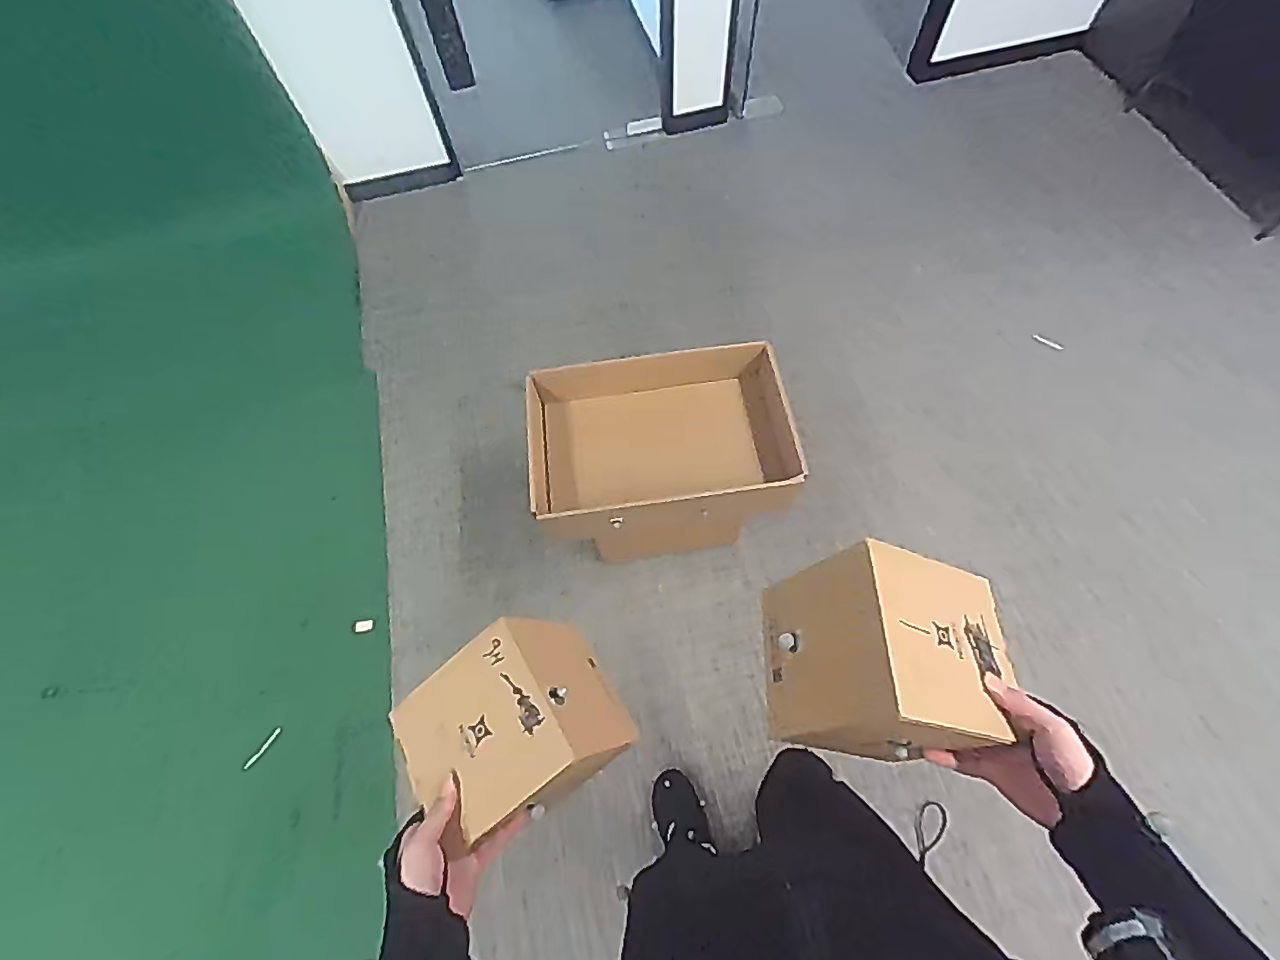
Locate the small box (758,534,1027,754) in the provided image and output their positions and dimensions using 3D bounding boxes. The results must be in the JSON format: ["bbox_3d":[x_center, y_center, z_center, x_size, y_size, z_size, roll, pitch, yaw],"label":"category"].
[{"bbox_3d":[0.244,0.181,0.564,0.179,0.176,0.168,19,53,-18],"label":"small box"}]

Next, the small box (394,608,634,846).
[{"bbox_3d":[-0.138,0.273,0.623,0.179,0.176,0.168,-40,61,7],"label":"small box"}]
